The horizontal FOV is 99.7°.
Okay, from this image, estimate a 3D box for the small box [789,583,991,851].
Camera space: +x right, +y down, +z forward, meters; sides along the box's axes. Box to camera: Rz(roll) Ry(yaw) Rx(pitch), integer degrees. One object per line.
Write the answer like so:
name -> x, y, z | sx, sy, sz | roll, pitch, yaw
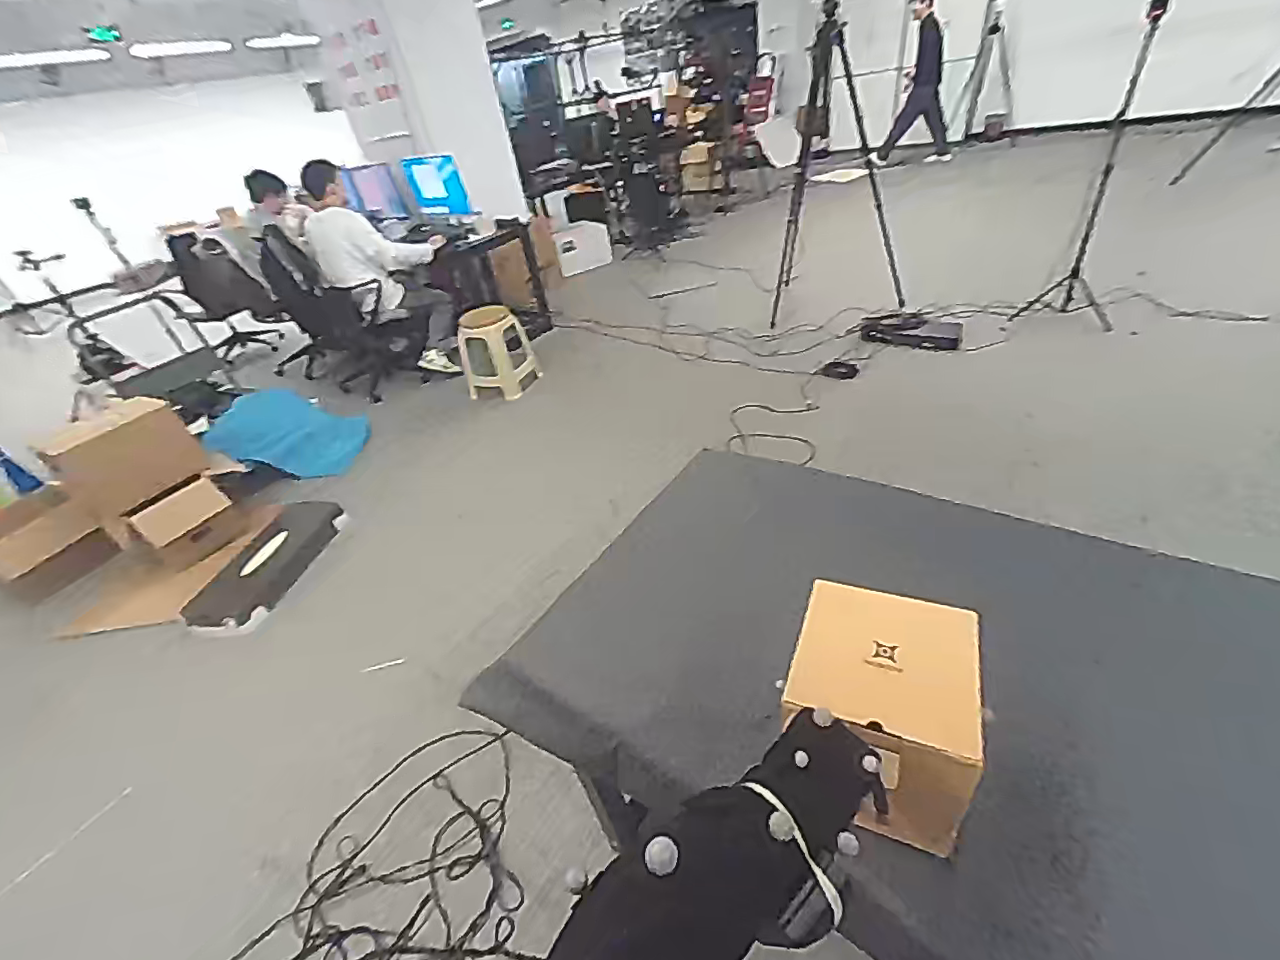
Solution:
small box -> 0.260, 0.245, 0.582 | 0.168, 0.176, 0.179 | 9, 37, 24
